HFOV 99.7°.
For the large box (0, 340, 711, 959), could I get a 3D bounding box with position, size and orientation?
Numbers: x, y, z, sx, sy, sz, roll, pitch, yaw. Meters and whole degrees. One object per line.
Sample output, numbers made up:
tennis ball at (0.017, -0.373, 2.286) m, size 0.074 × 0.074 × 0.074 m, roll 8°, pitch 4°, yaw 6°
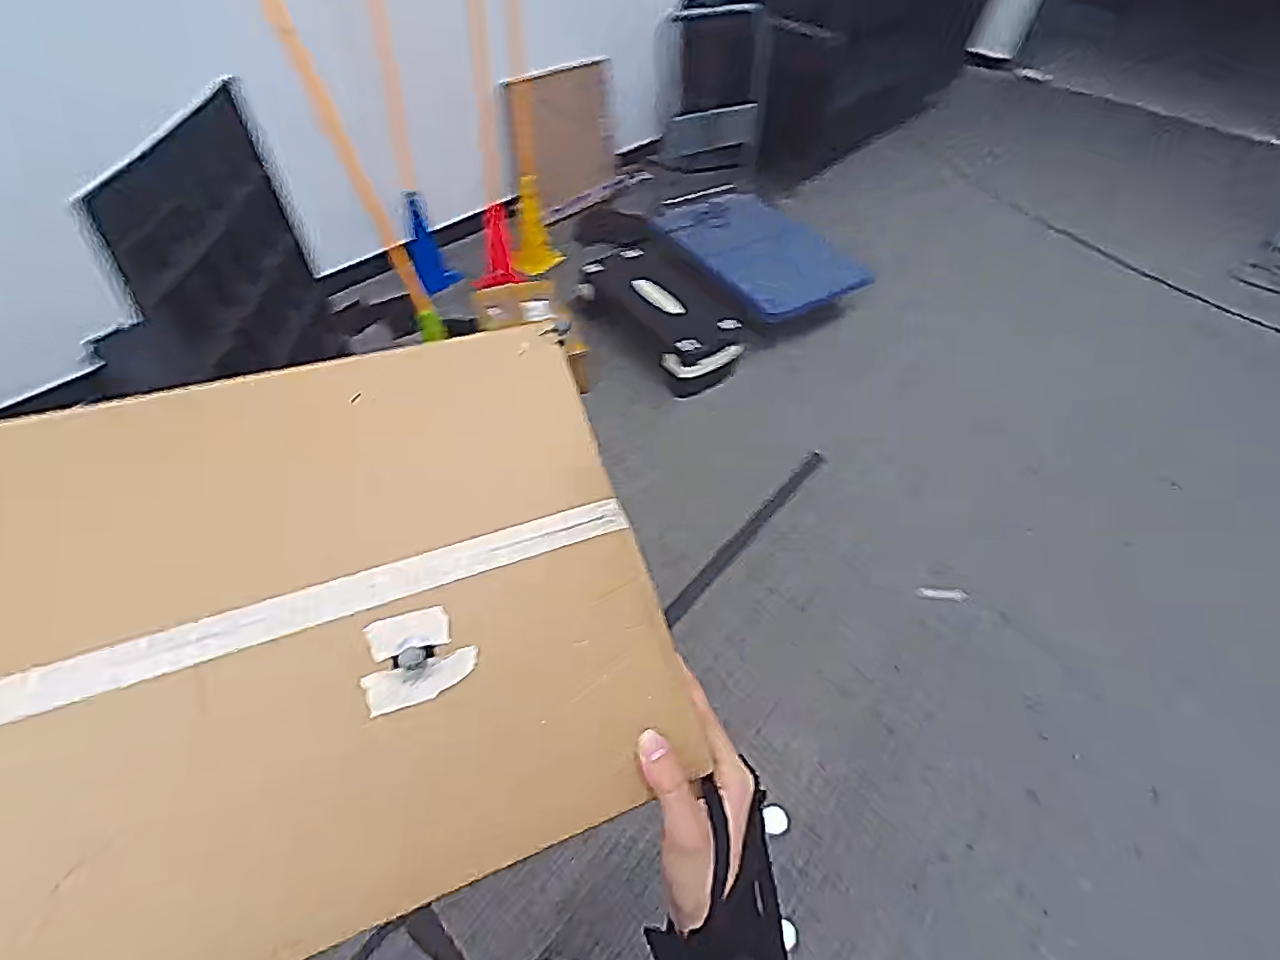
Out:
large box at (-0.216, 0.138, 0.438) m, size 0.408 × 0.320 × 0.320 m, roll -15°, pitch 72°, yaw -16°
